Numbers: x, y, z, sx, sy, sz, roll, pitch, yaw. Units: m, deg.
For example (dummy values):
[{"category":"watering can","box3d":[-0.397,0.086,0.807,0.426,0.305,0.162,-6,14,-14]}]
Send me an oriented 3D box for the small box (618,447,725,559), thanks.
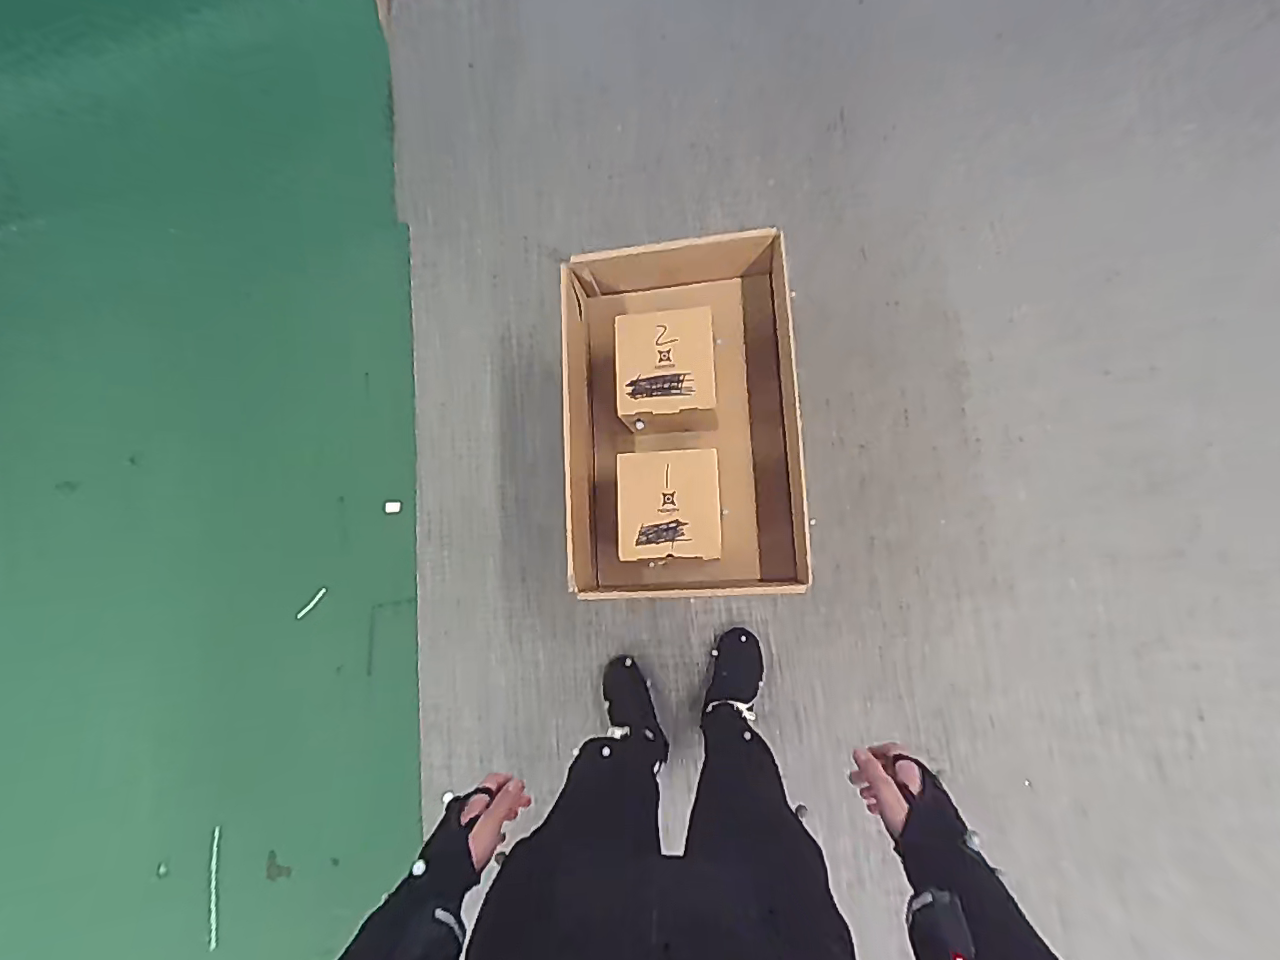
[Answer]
[{"category":"small box","box3d":[0.060,0.046,0.939,0.168,0.176,0.179,-3,81,9]}]
